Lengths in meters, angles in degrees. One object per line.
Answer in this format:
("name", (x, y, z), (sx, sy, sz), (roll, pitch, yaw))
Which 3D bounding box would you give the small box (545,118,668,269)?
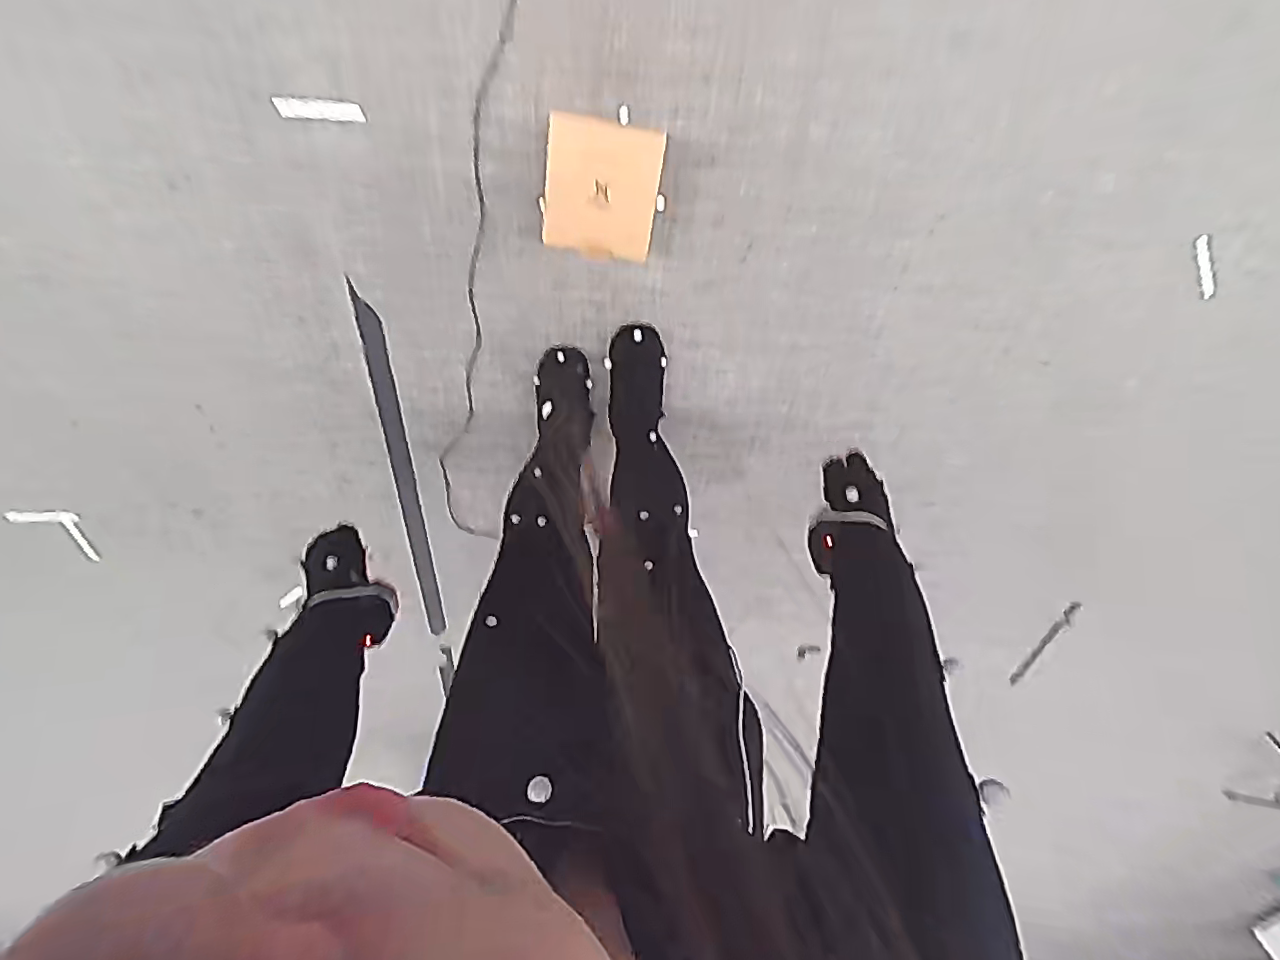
("small box", (-0.055, -0.464, 0.872), (0.168, 0.176, 0.179), (7, 124, -7))

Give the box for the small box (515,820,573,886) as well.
("small box", (-0.334, 1.313, 1.891), (0.179, 0.176, 0.168), (6, 126, -5))
